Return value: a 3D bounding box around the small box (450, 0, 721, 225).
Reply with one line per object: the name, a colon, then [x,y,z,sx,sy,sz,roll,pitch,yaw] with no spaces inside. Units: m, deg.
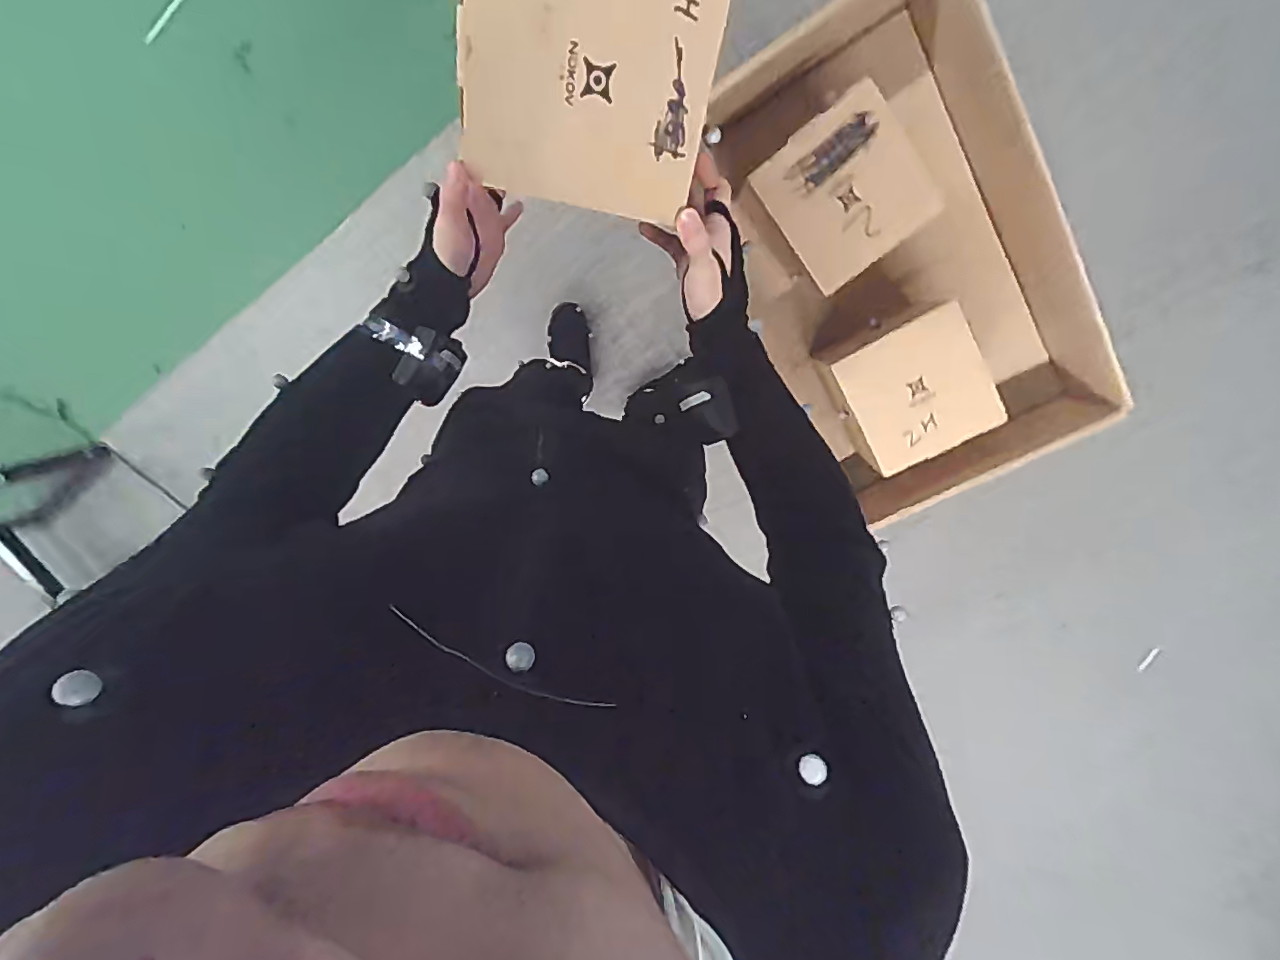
small box: [-0.037,-0.326,0.436,0.179,0.176,0.168,10,127,-3]
